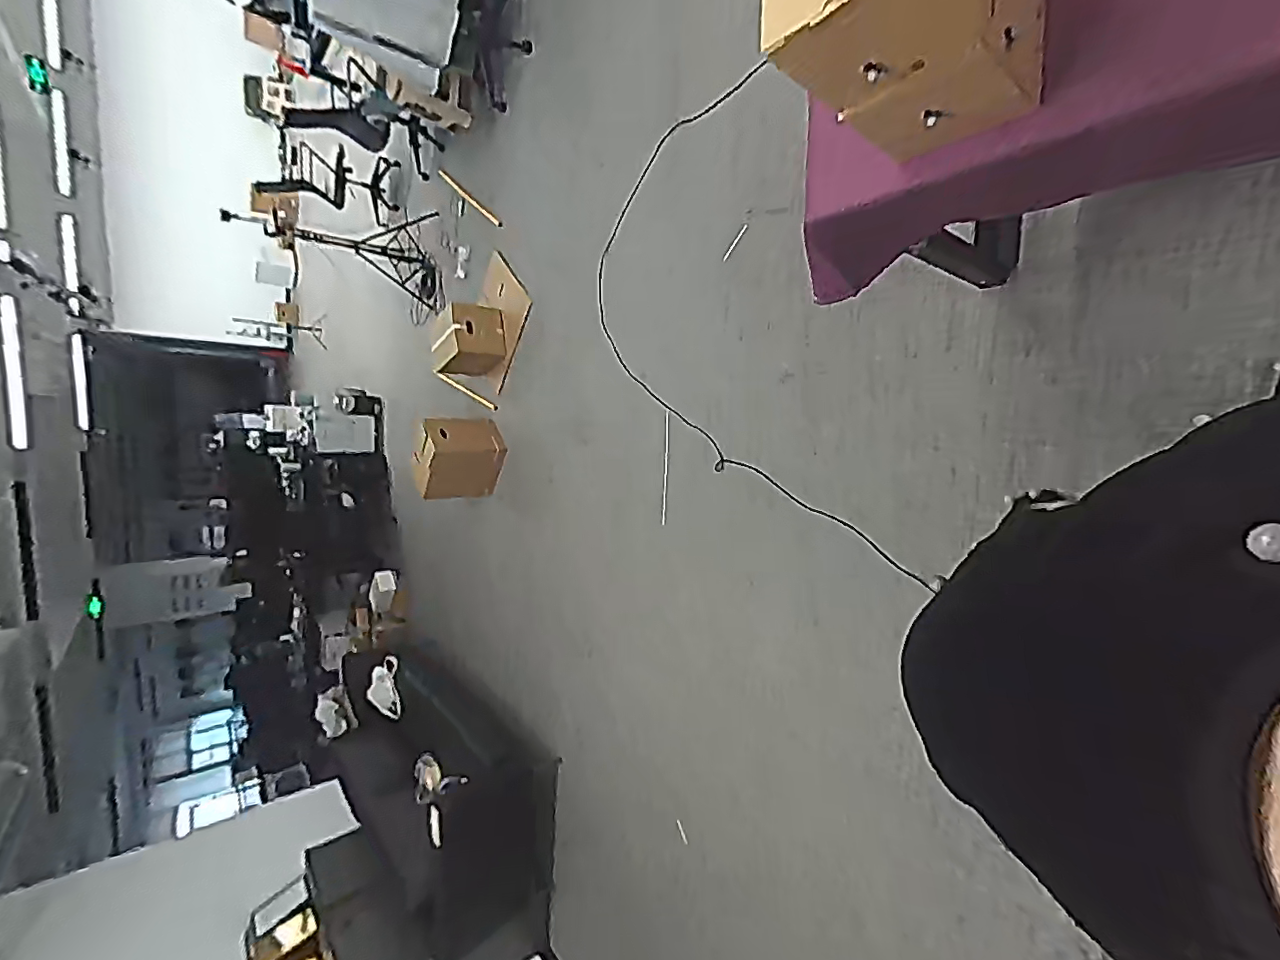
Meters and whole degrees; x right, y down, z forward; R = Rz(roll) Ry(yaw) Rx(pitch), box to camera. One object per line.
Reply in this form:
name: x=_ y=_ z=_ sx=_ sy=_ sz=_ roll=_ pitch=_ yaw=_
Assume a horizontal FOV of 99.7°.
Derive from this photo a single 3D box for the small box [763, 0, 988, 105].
small box: x=0.248 y=-0.544 z=0.564 sx=0.168 sy=0.176 sz=0.179 roll=6 pitch=98 yaw=50
